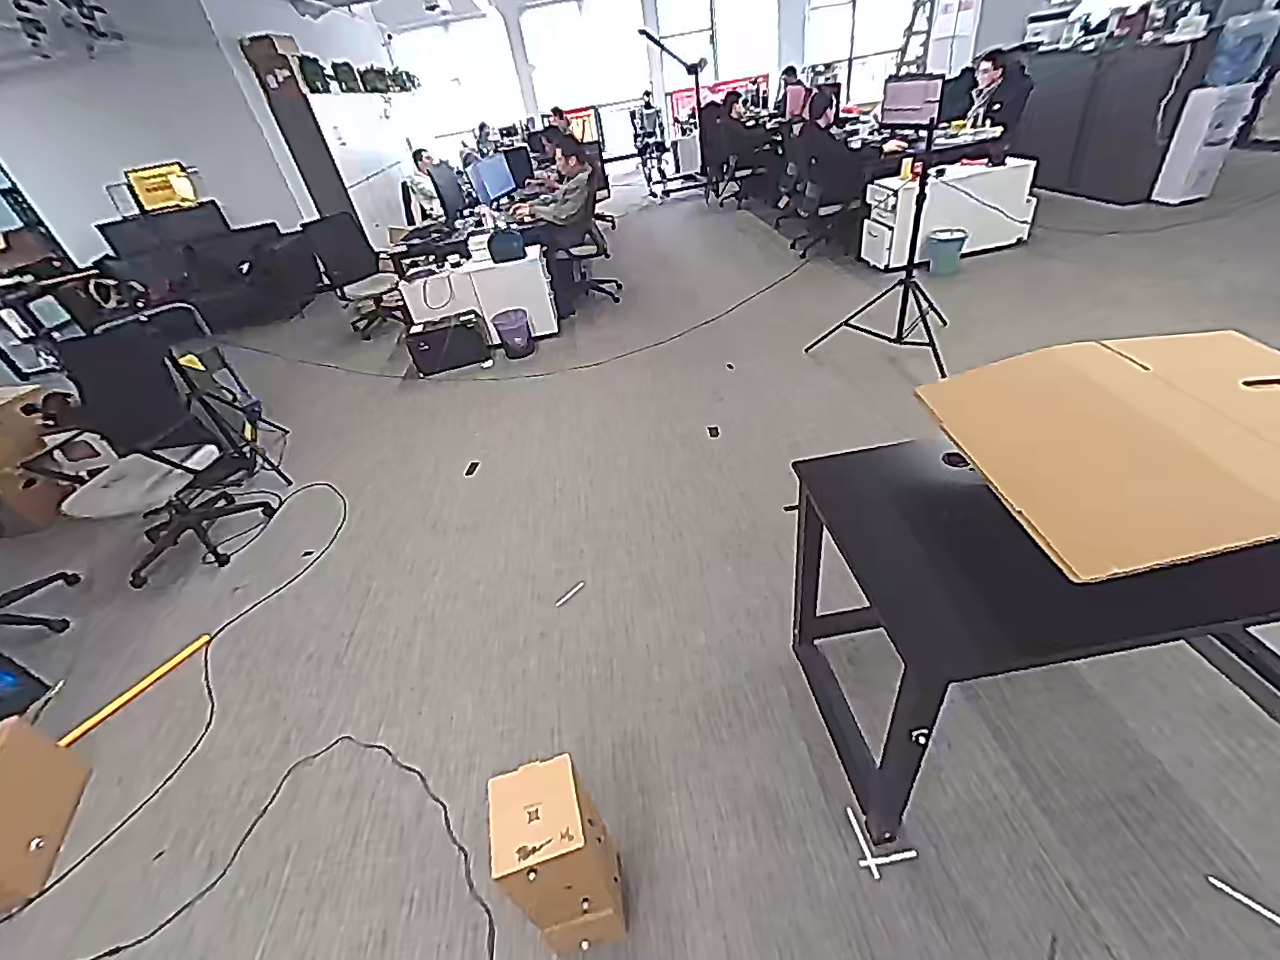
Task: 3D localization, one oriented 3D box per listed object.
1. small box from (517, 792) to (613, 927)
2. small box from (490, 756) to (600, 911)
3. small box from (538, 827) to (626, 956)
[{"bbox_3d":[-0.161,0.809,1.146,0.168,0.176,0.179,-14,35,-6],"label":"small box"},{"bbox_3d":[-0.184,0.680,1.046,0.168,0.176,0.179,-16,36,-7],"label":"small box"},{"bbox_3d":[-0.134,0.940,1.237,0.168,0.176,0.179,-13,37,-3],"label":"small box"}]
